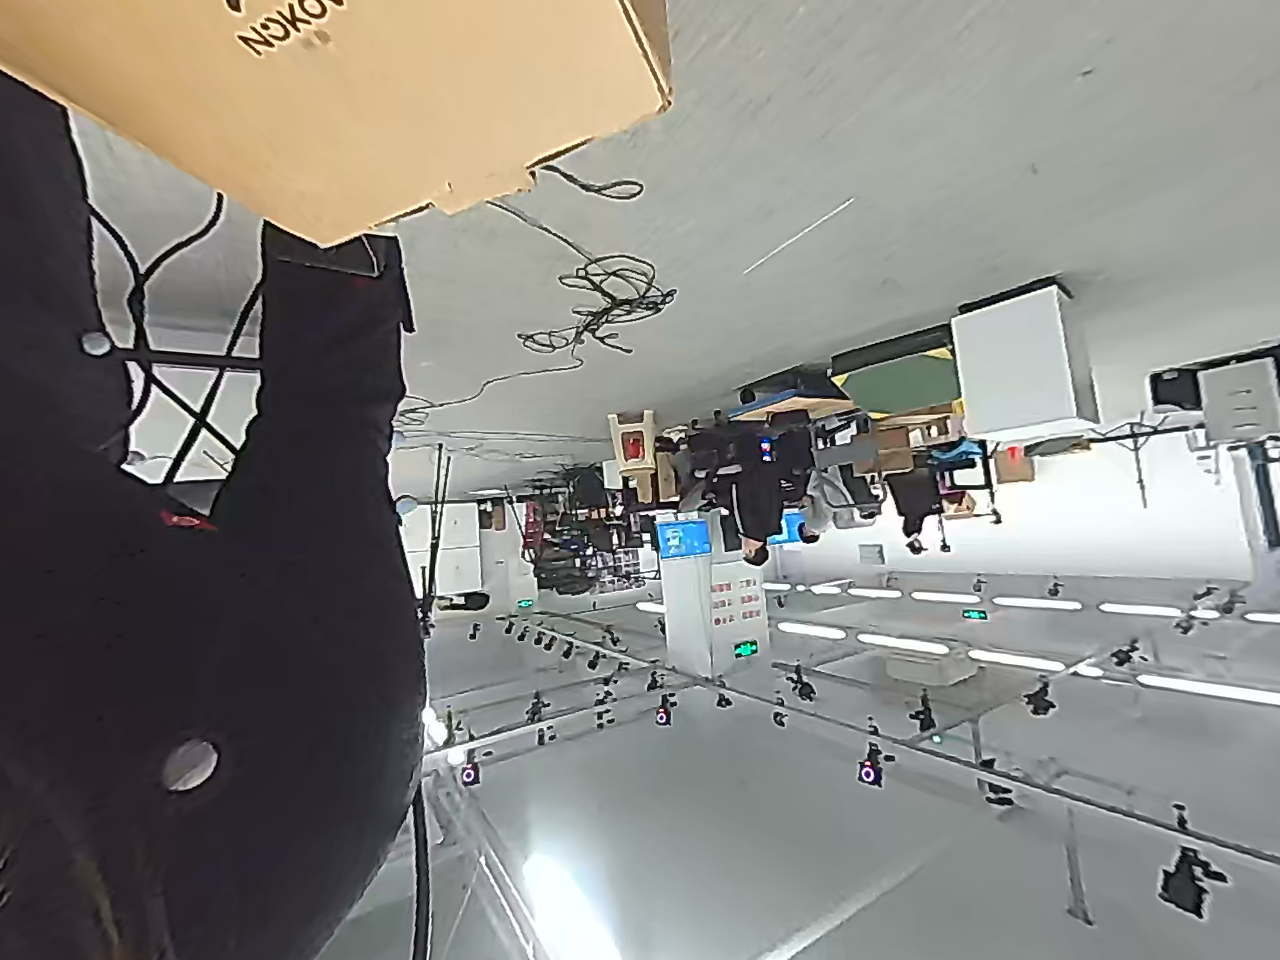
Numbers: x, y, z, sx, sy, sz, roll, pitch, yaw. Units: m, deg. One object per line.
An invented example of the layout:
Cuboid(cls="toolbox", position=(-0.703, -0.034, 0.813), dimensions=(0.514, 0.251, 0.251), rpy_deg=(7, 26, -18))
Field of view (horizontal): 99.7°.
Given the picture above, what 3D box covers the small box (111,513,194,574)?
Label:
Cuboid(cls="small box", position=(-1.479, 0.192, 1.651), dimensions=(0.168, 0.176, 0.179), rpy_deg=(-3, 174, -32))
